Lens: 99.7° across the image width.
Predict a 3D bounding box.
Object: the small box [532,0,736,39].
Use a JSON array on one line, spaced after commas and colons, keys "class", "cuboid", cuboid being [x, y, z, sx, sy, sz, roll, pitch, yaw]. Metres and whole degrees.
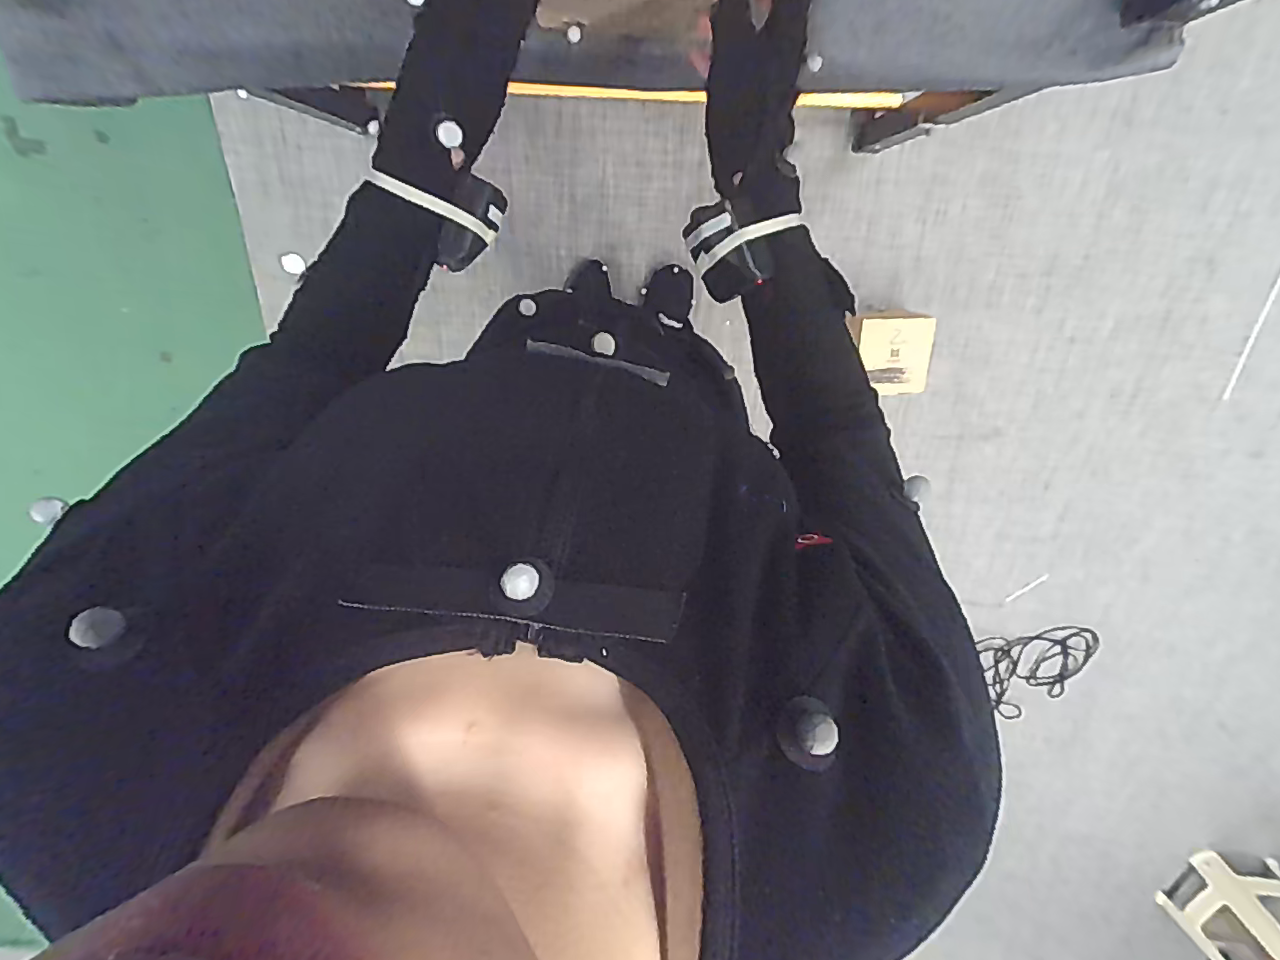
[{"class": "small box", "cuboid": [-0.002, -0.441, 0.383, 0.168, 0.176, 0.179, 1, 119, -4]}]
